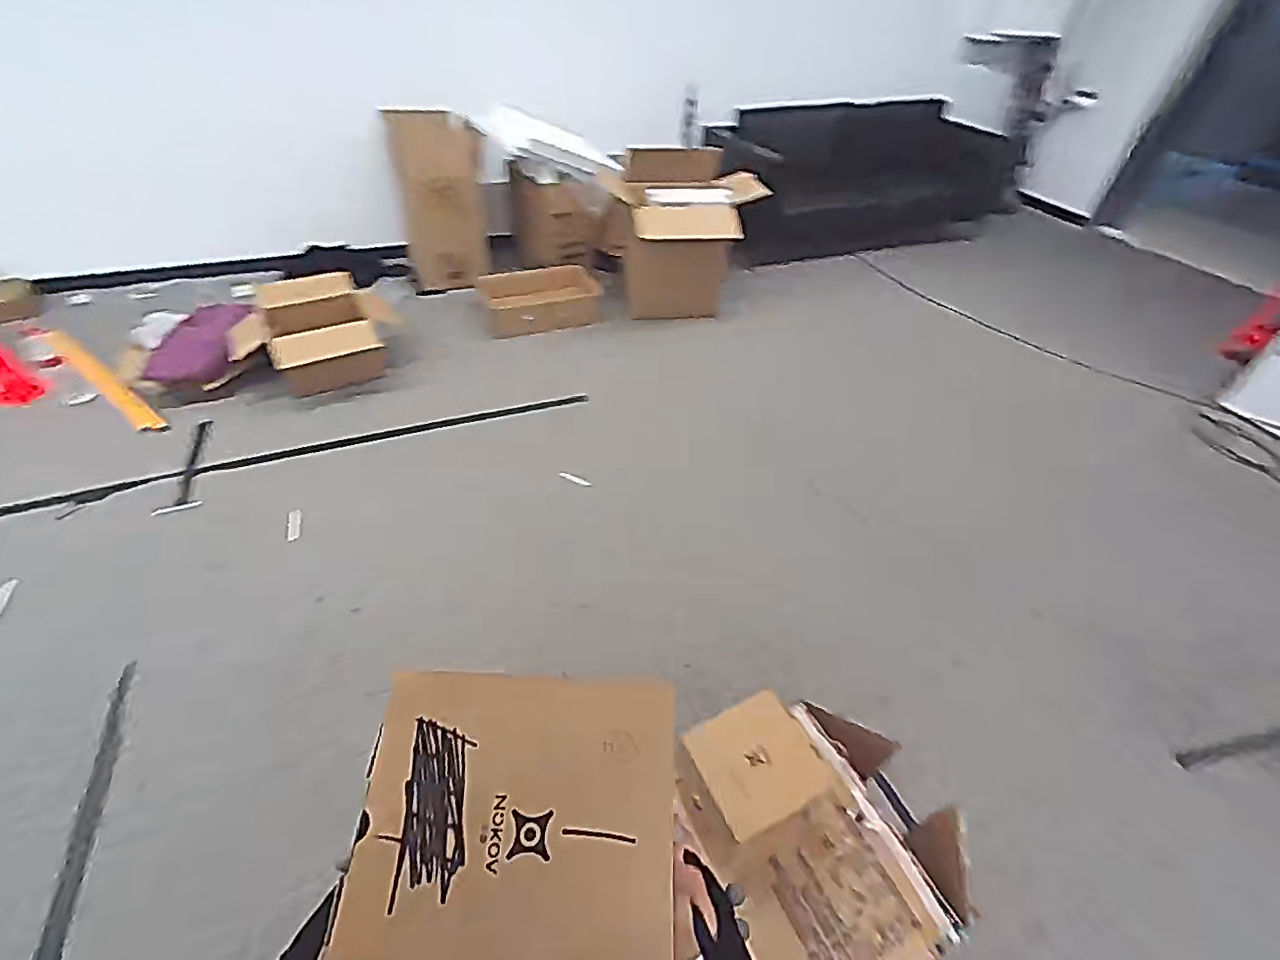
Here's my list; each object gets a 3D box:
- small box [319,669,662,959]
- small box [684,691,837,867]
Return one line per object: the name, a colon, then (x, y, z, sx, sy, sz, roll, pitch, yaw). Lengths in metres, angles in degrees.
small box: (-0.078, 0.234, 0.374, 0.179, 0.176, 0.168, 2, 60, -2)
small box: (0.183, 0.486, 0.880, 0.179, 0.176, 0.168, -21, 47, -18)
